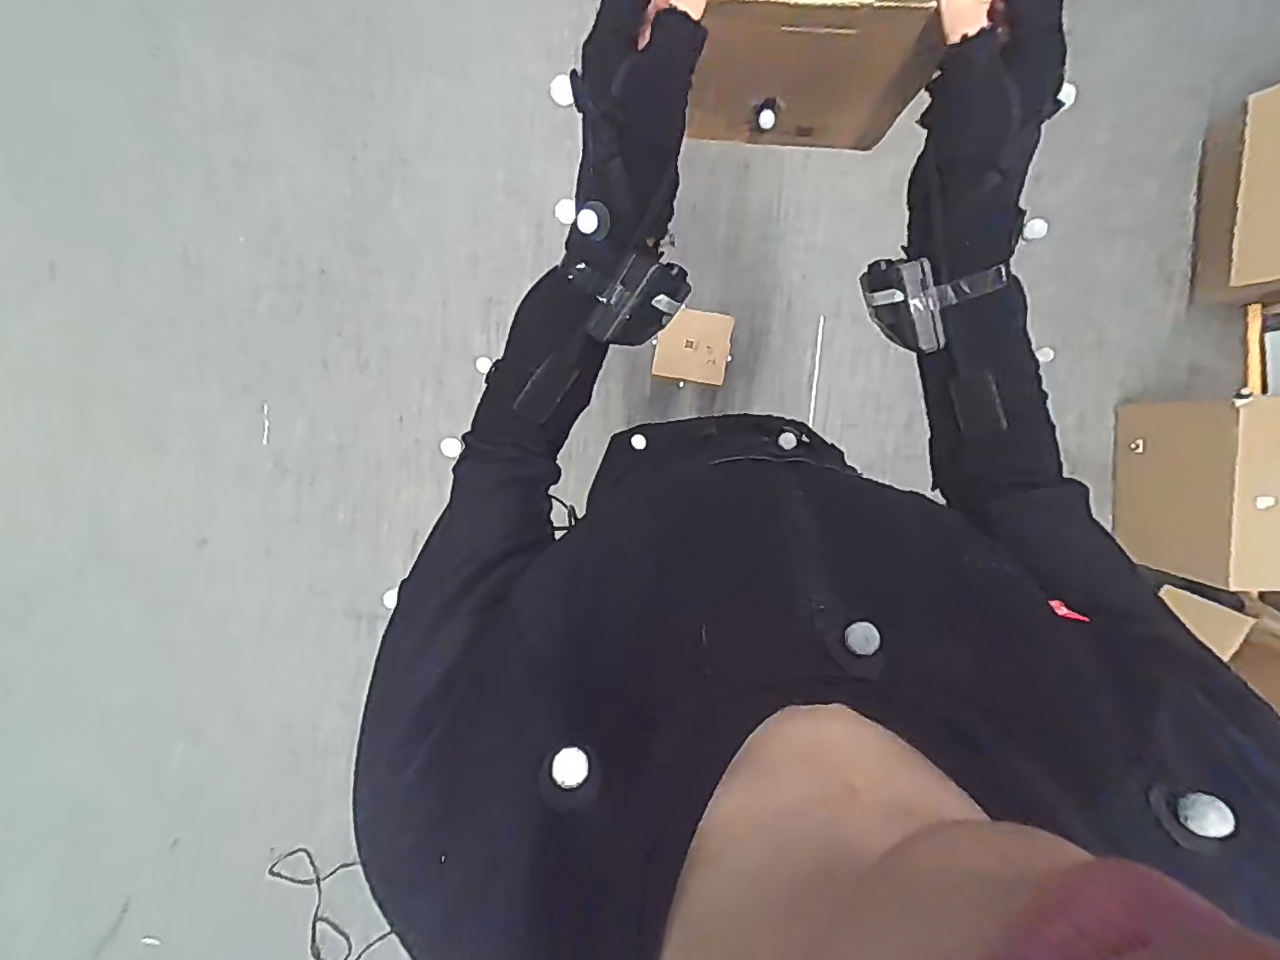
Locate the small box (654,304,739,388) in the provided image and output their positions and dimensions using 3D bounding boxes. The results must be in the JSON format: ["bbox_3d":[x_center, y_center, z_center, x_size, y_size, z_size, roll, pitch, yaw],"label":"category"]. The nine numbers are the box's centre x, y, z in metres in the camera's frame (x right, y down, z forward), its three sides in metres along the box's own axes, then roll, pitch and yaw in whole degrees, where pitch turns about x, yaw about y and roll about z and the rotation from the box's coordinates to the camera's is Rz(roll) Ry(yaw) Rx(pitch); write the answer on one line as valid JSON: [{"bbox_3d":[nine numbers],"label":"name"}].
[{"bbox_3d":[0.139,-0.328,1.356,0.179,0.176,0.168,10,97,3],"label":"small box"}]
